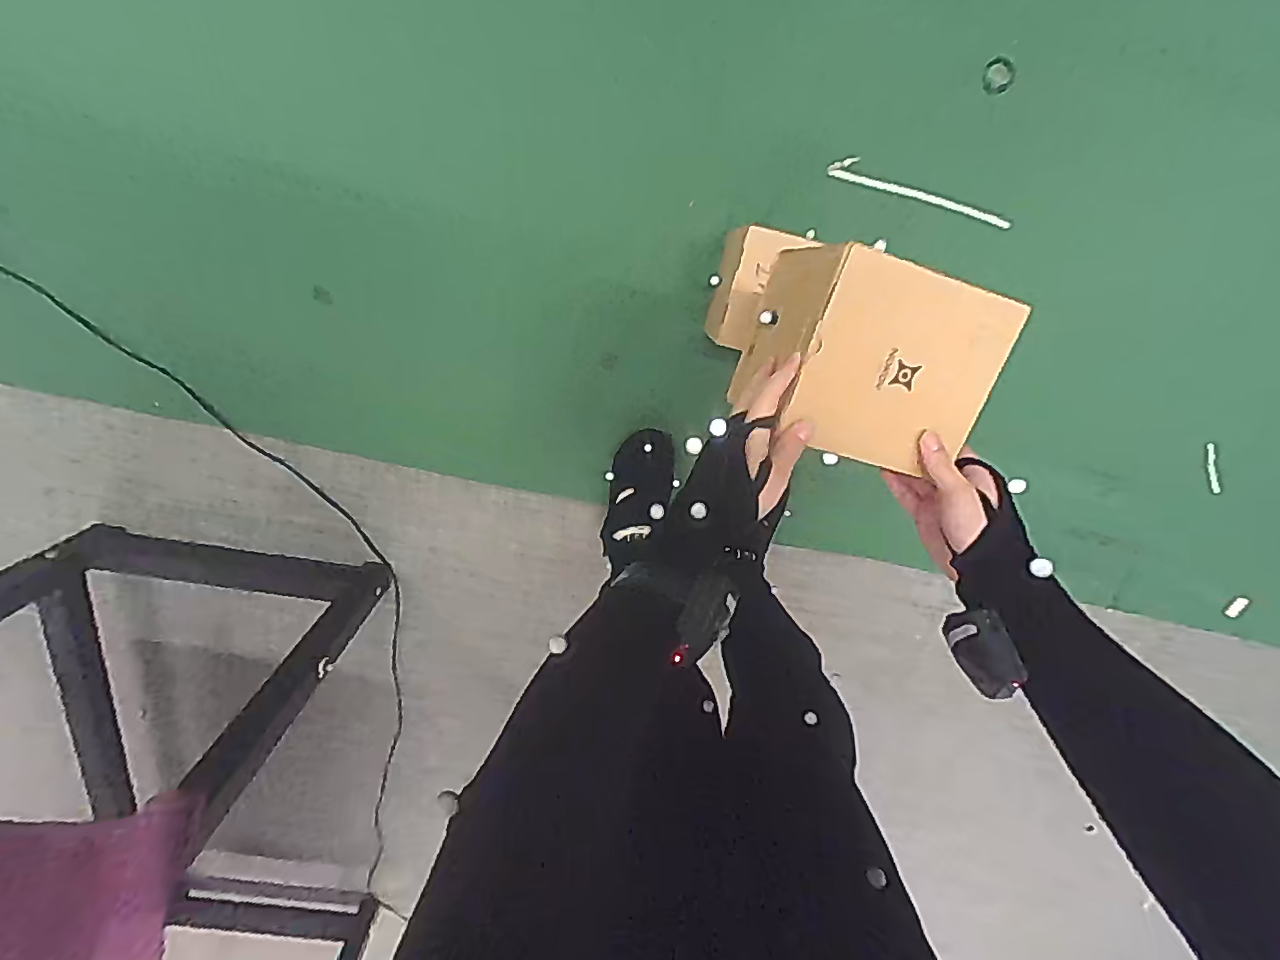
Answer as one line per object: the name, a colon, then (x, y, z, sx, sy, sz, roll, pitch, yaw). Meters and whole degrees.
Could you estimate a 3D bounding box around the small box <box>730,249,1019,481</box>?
small box: (0.212, -0.119, 0.544, 0.179, 0.176, 0.168, 14, 107, -10)

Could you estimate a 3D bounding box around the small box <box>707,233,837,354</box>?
small box: (0.216, -0.278, 0.845, 0.179, 0.176, 0.168, 12, 111, -5)
